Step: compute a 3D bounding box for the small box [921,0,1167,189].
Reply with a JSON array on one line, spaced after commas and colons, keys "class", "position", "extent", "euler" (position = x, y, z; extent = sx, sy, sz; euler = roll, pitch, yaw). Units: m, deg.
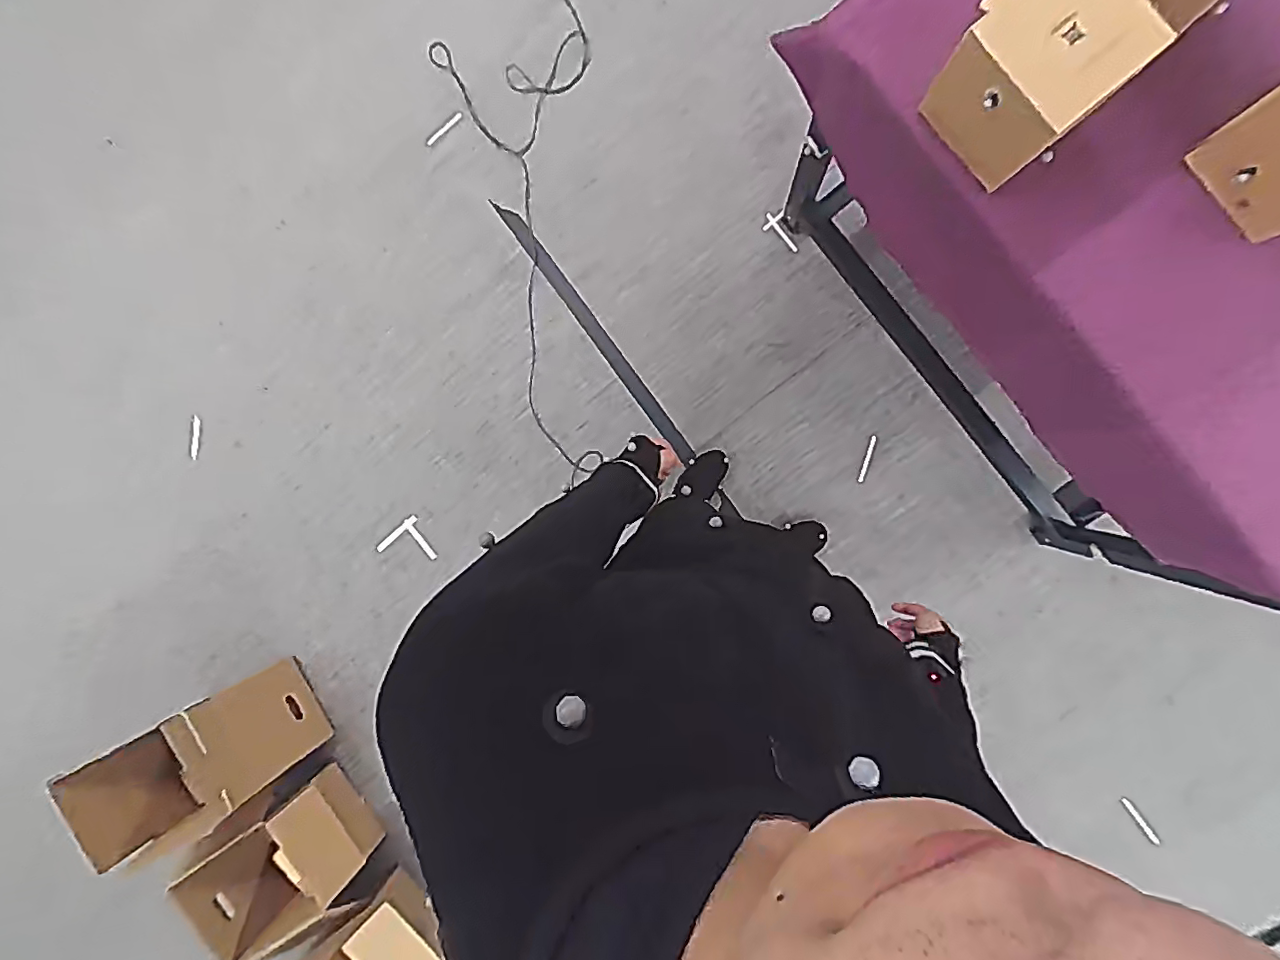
[{"class": "small box", "position": [0.528, -0.548, 0.740], "extent": [0.168, 0.176, 0.179], "euler": [-39, 88, 8]}]
